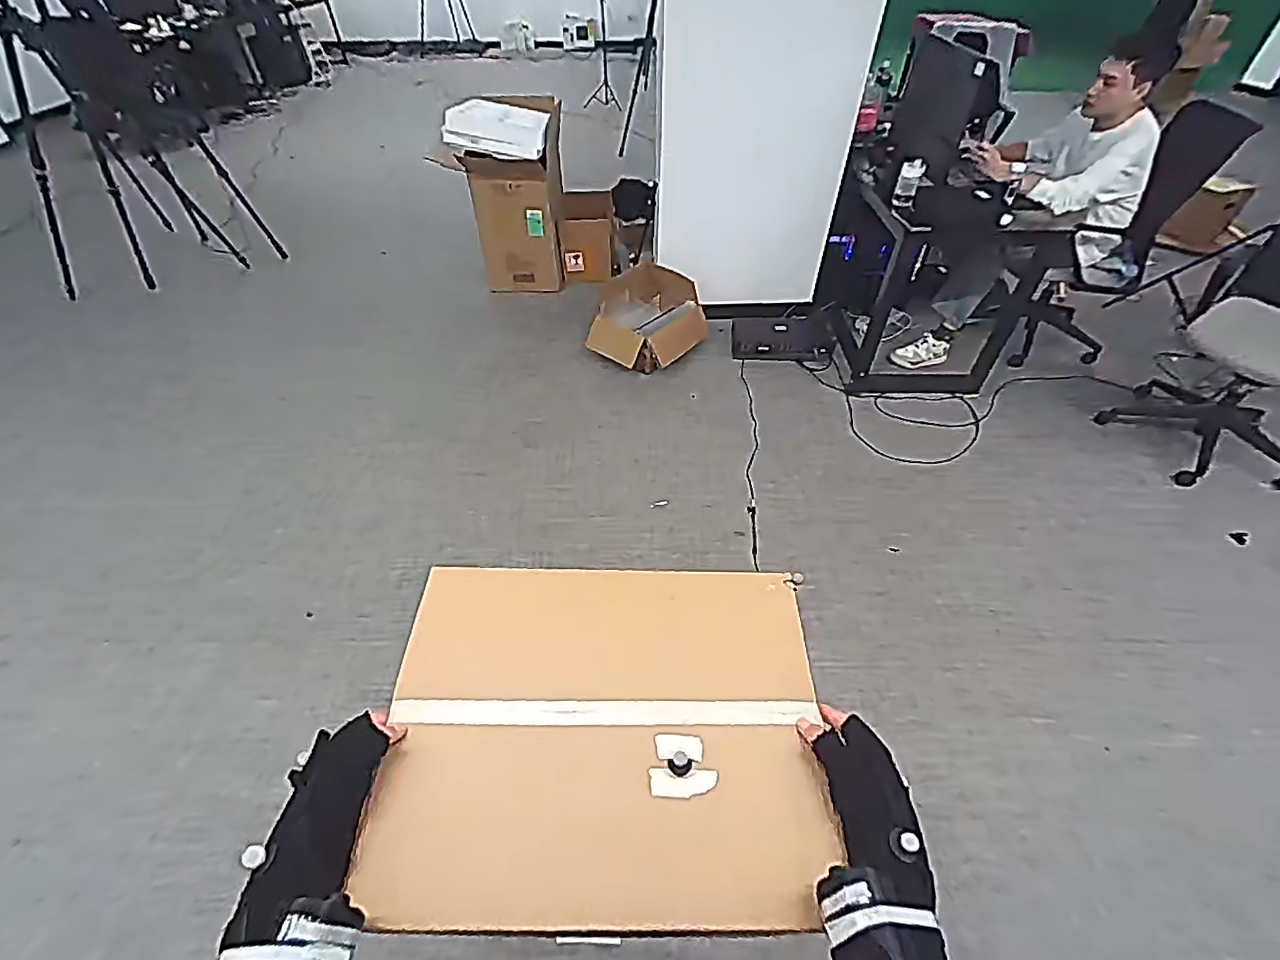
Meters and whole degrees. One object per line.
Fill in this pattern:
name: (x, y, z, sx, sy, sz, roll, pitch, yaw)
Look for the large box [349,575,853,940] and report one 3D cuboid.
large box: (-0.036, 0.324, 0.628, 0.408, 0.320, 0.320, 2, 49, -2)
